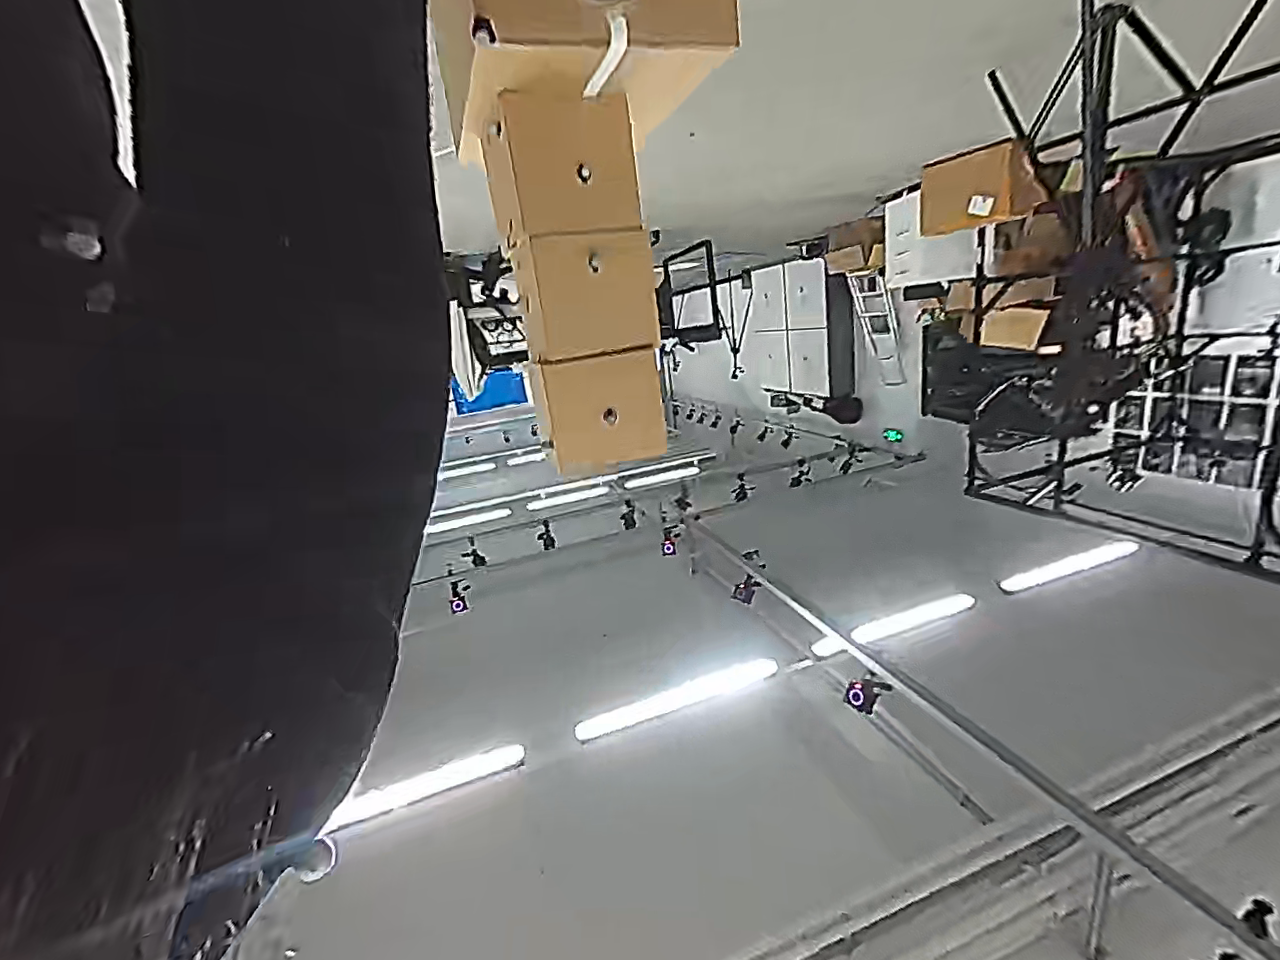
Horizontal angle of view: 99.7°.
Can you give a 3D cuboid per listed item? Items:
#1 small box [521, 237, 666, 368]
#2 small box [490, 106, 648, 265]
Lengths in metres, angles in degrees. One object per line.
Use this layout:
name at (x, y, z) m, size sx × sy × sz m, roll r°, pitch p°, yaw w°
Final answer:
small box at (-0.078, -0.271, 0.841) m, size 0.179 × 0.176 × 0.168 m, roll -12°, pitch -163°, yaw -18°
small box at (-0.110, -0.425, 0.793) m, size 0.179 × 0.176 × 0.168 m, roll -15°, pitch -163°, yaw -21°
